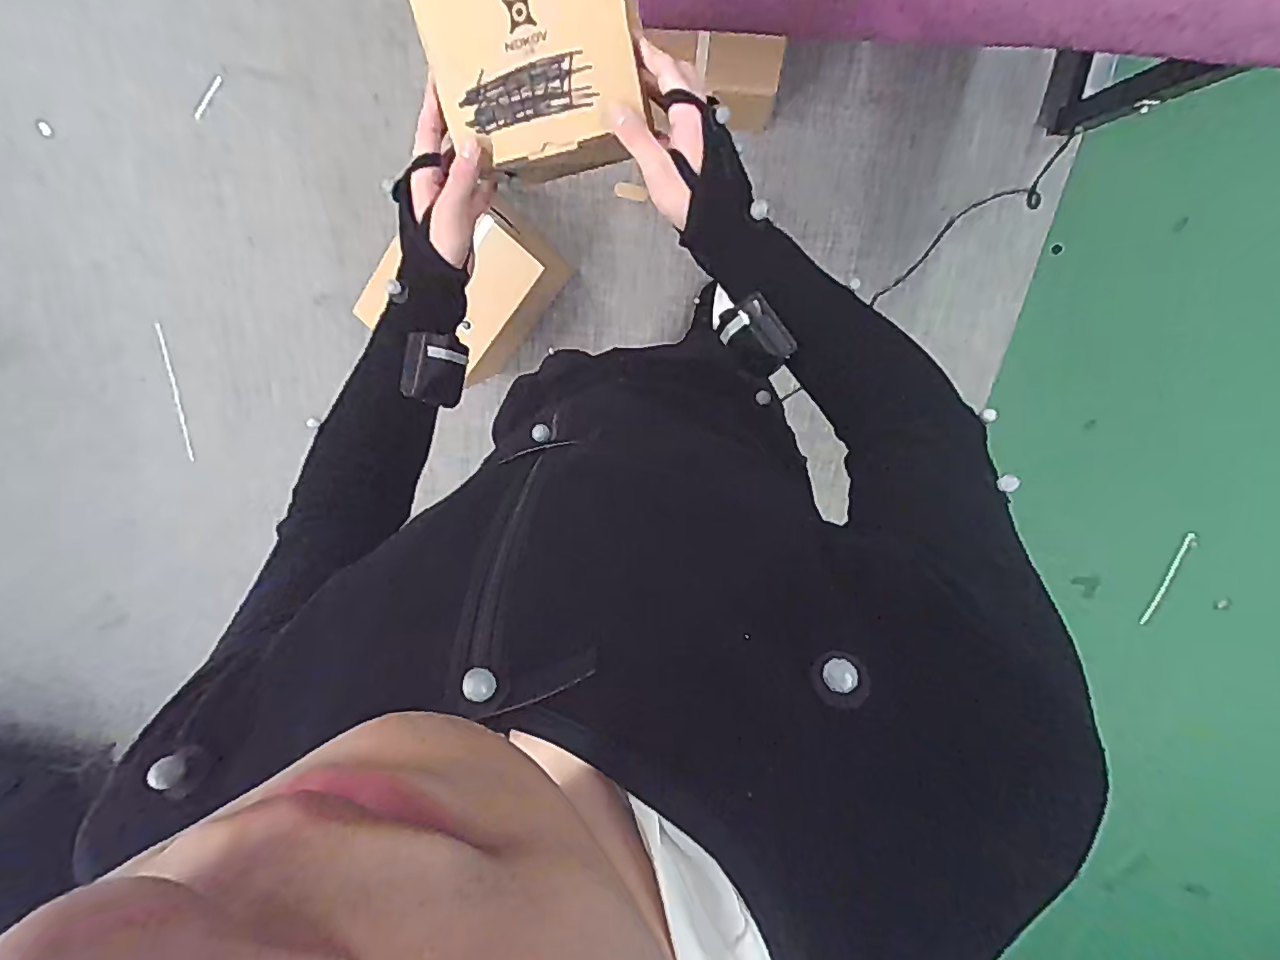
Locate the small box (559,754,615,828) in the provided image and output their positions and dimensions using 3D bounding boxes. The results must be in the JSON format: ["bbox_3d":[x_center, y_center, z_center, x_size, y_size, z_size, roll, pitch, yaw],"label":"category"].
[{"bbox_3d":[-0.198,1.167,2.038,0.179,0.176,0.168,4,111,6],"label":"small box"}]

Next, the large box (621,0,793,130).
[{"bbox_3d":[0.150,-0.994,1.116,0.320,0.320,0.408,7,111,5],"label":"large box"}]
